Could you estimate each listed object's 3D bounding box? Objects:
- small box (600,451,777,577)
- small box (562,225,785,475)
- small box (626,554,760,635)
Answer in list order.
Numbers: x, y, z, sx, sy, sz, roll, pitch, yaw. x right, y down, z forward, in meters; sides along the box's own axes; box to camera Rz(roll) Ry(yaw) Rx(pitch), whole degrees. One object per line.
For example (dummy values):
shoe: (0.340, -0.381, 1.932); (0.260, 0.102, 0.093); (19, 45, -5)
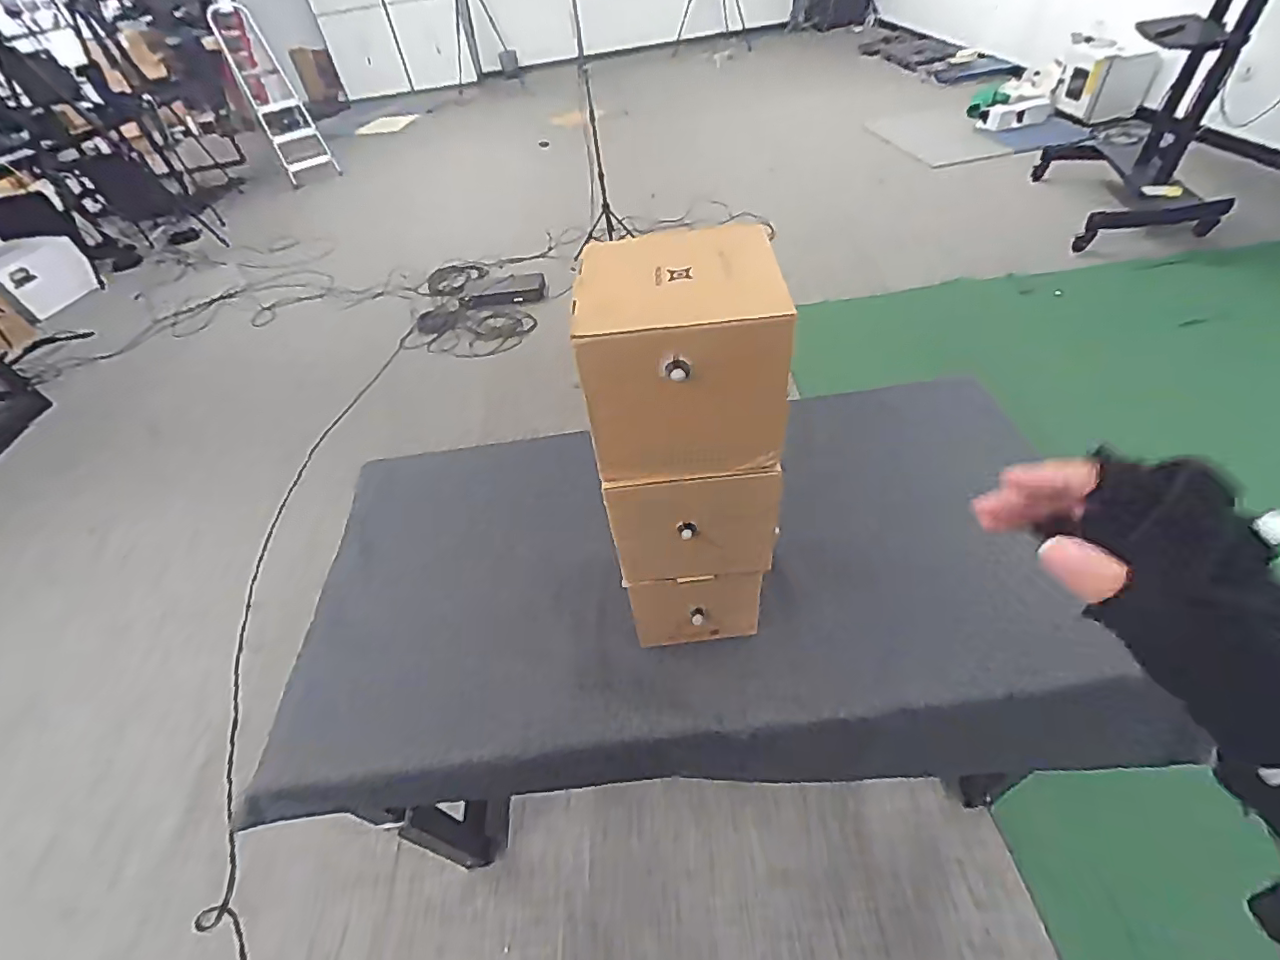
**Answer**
small box: (0.055, -0.004, 0.635); (0.179, 0.176, 0.168); (-8, 46, 5)
small box: (0.034, -0.120, 0.523); (0.179, 0.176, 0.168); (-5, 47, 4)
small box: (0.069, 0.103, 0.760); (0.168, 0.176, 0.179); (-9, 47, 2)
